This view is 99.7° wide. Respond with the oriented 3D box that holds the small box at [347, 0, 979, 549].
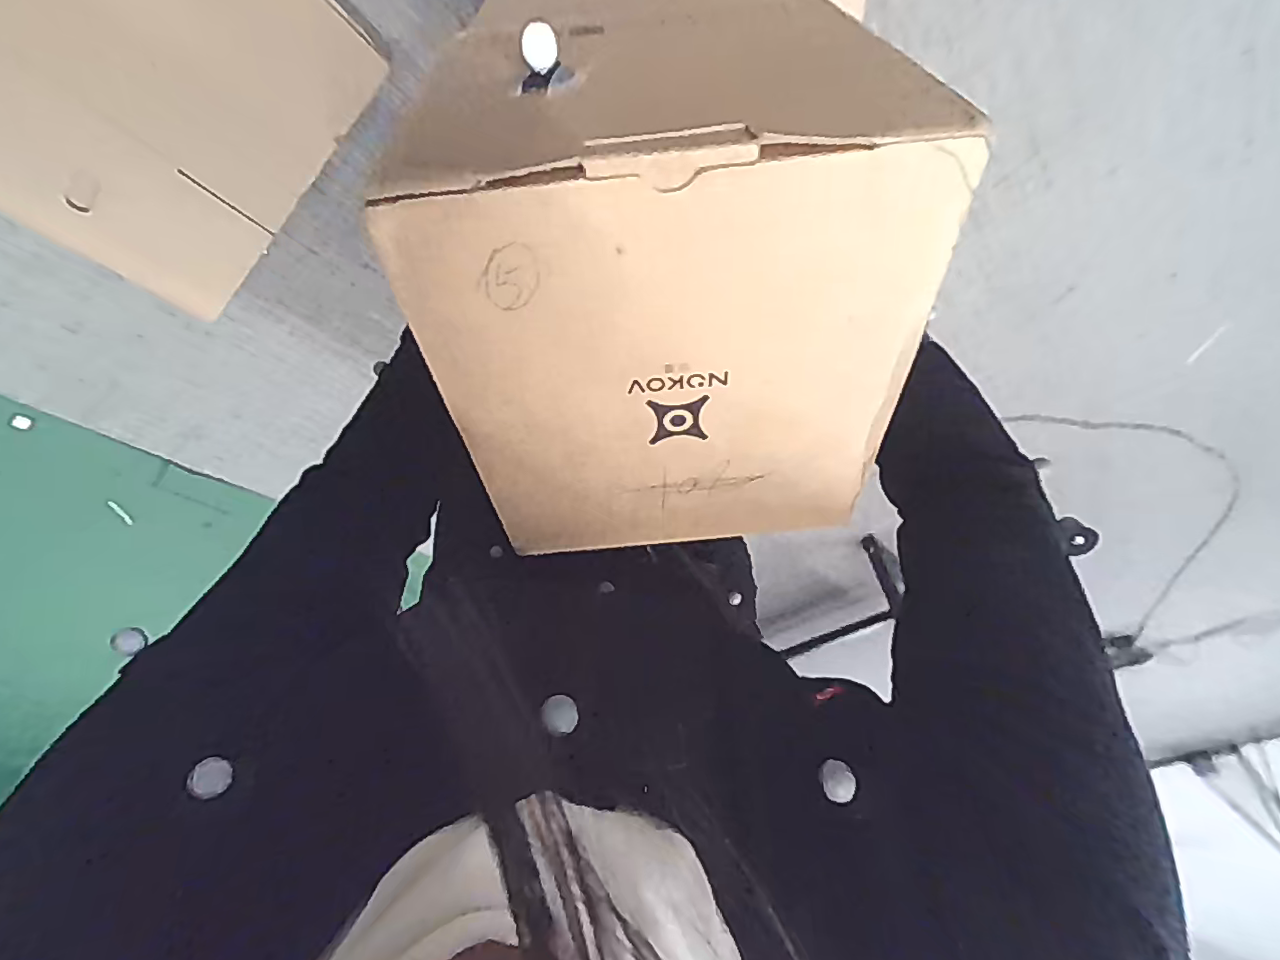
[{"bbox_3d":[0.007,-0.090,0.249,0.168,0.176,0.179,-5,141,3],"label":"small box"}]
